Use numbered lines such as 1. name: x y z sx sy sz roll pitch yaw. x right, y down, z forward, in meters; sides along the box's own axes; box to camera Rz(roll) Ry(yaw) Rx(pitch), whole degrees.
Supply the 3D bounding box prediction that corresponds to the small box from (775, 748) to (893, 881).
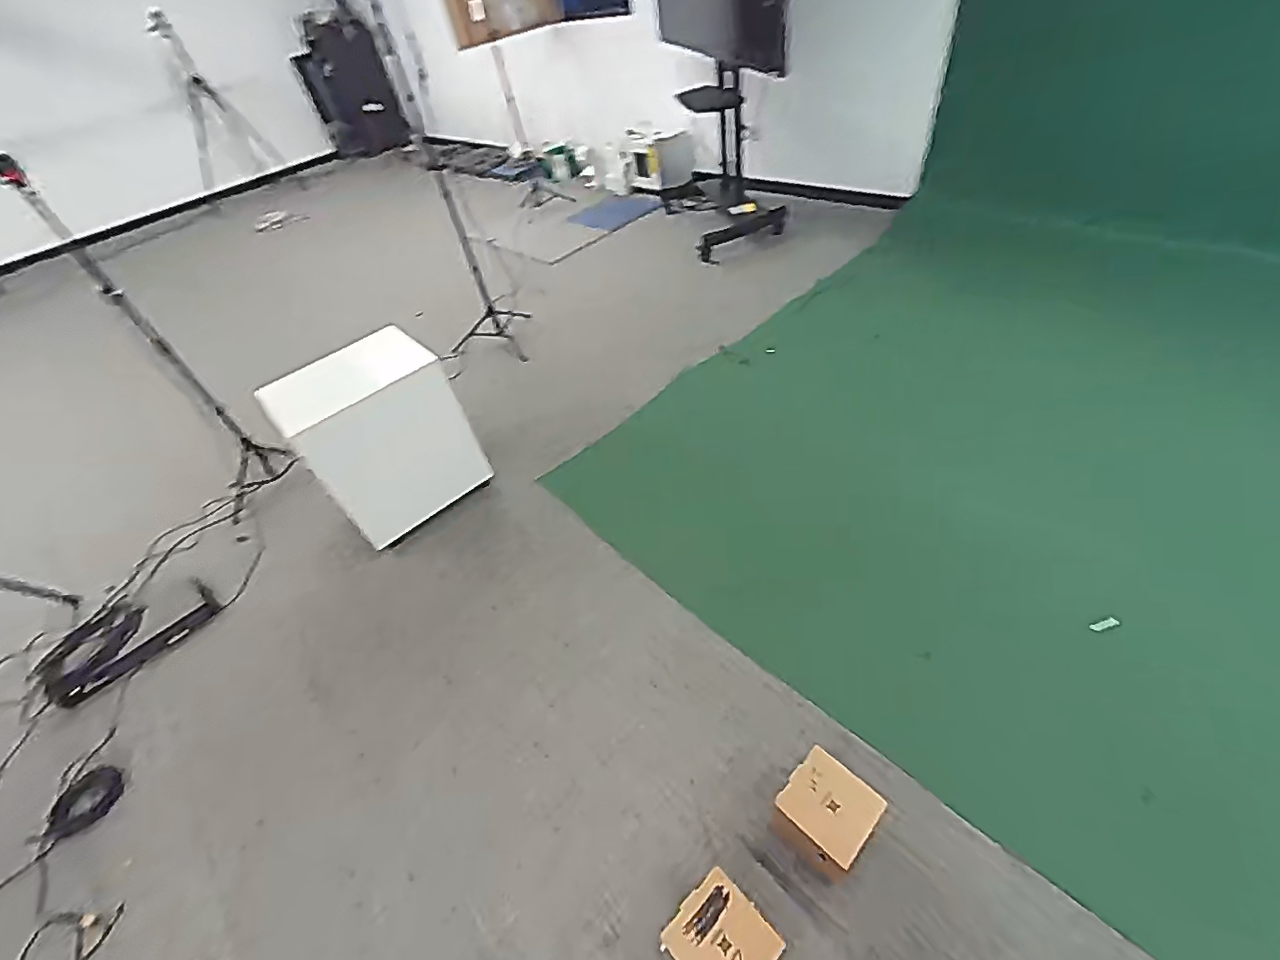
1. small box: 0.416 0.736 1.182 0.168 0.176 0.179 -38 50 -26
